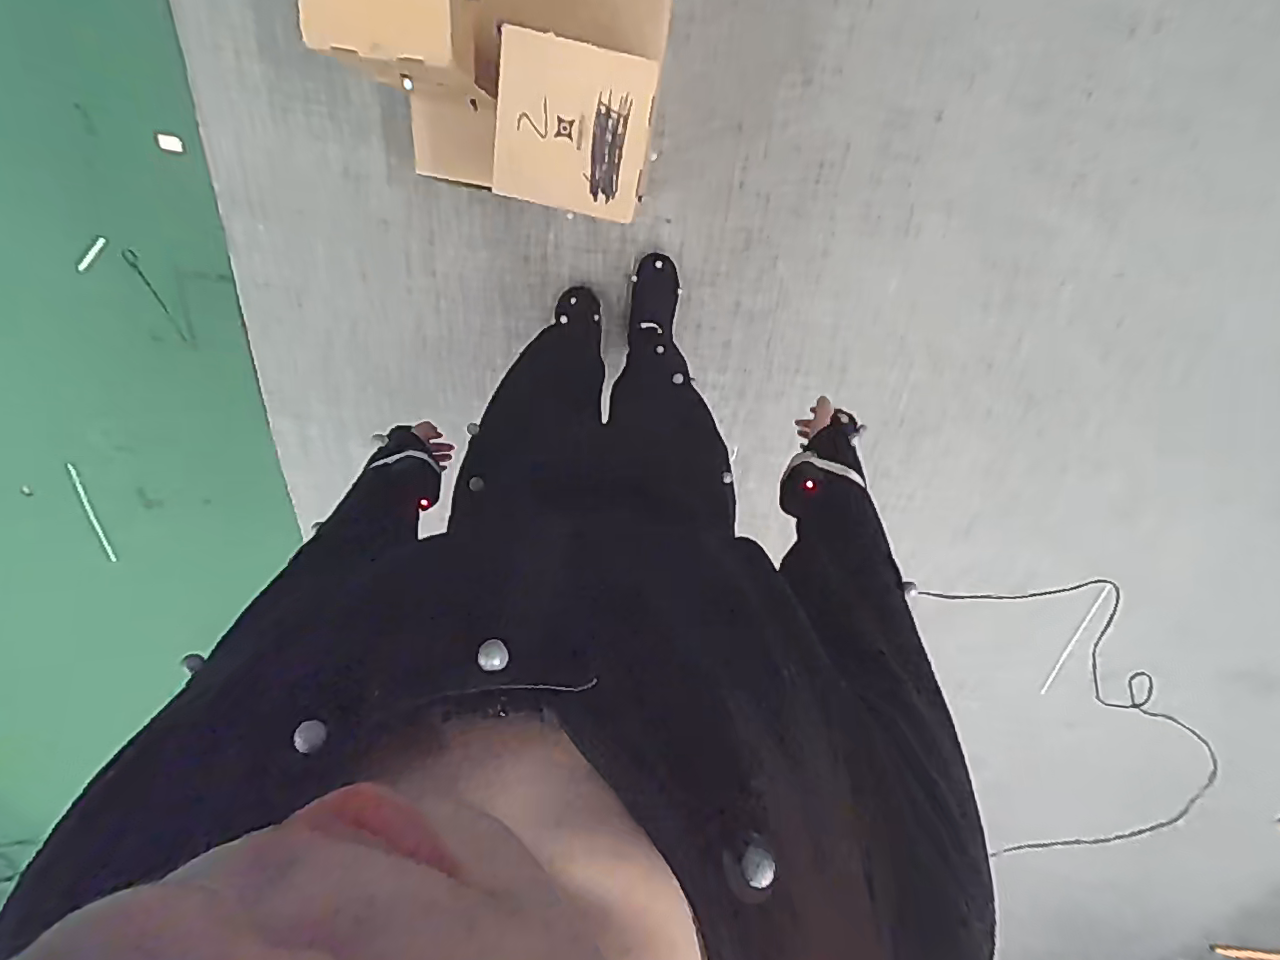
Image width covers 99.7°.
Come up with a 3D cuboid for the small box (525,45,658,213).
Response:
[{"bbox_3d":[-0.071,-0.523,0.831,0.168,0.176,0.179,10,116,-3],"label":"small box"}]

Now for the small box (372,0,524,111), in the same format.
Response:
[{"bbox_3d":[-0.270,-0.654,0.776,0.168,0.176,0.179,9,116,-2],"label":"small box"}]

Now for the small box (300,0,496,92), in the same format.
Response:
[{"bbox_3d":[-0.271,-0.582,0.629,0.168,0.176,0.179,9,119,-2],"label":"small box"}]
